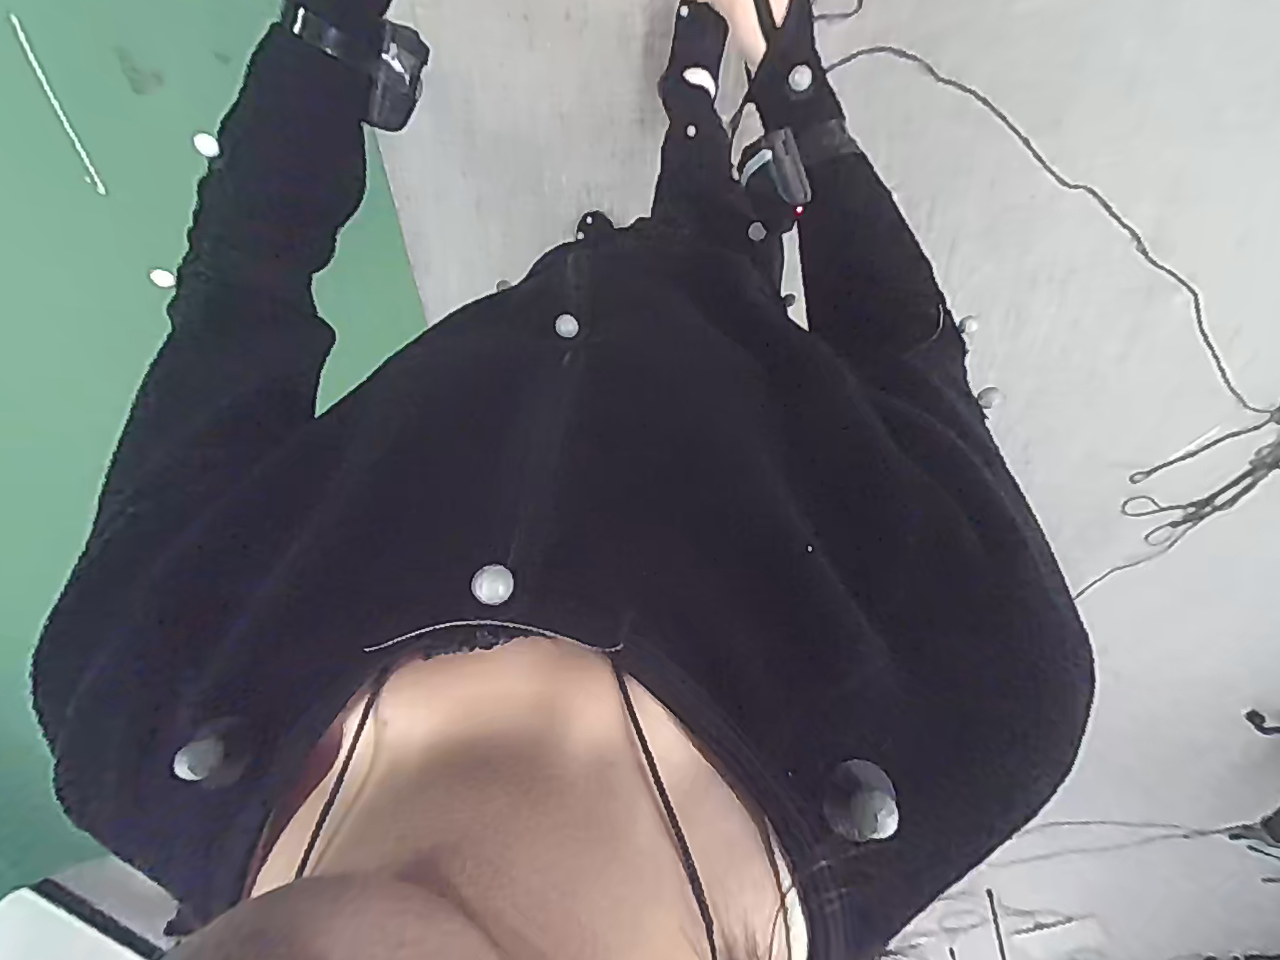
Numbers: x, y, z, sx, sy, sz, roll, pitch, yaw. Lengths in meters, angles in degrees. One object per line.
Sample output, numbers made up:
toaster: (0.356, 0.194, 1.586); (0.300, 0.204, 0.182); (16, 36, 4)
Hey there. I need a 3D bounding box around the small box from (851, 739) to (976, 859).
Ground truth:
small box: (0.576, 0.680, 1.163); (0.179, 0.176, 0.168); (-6, 122, 4)
